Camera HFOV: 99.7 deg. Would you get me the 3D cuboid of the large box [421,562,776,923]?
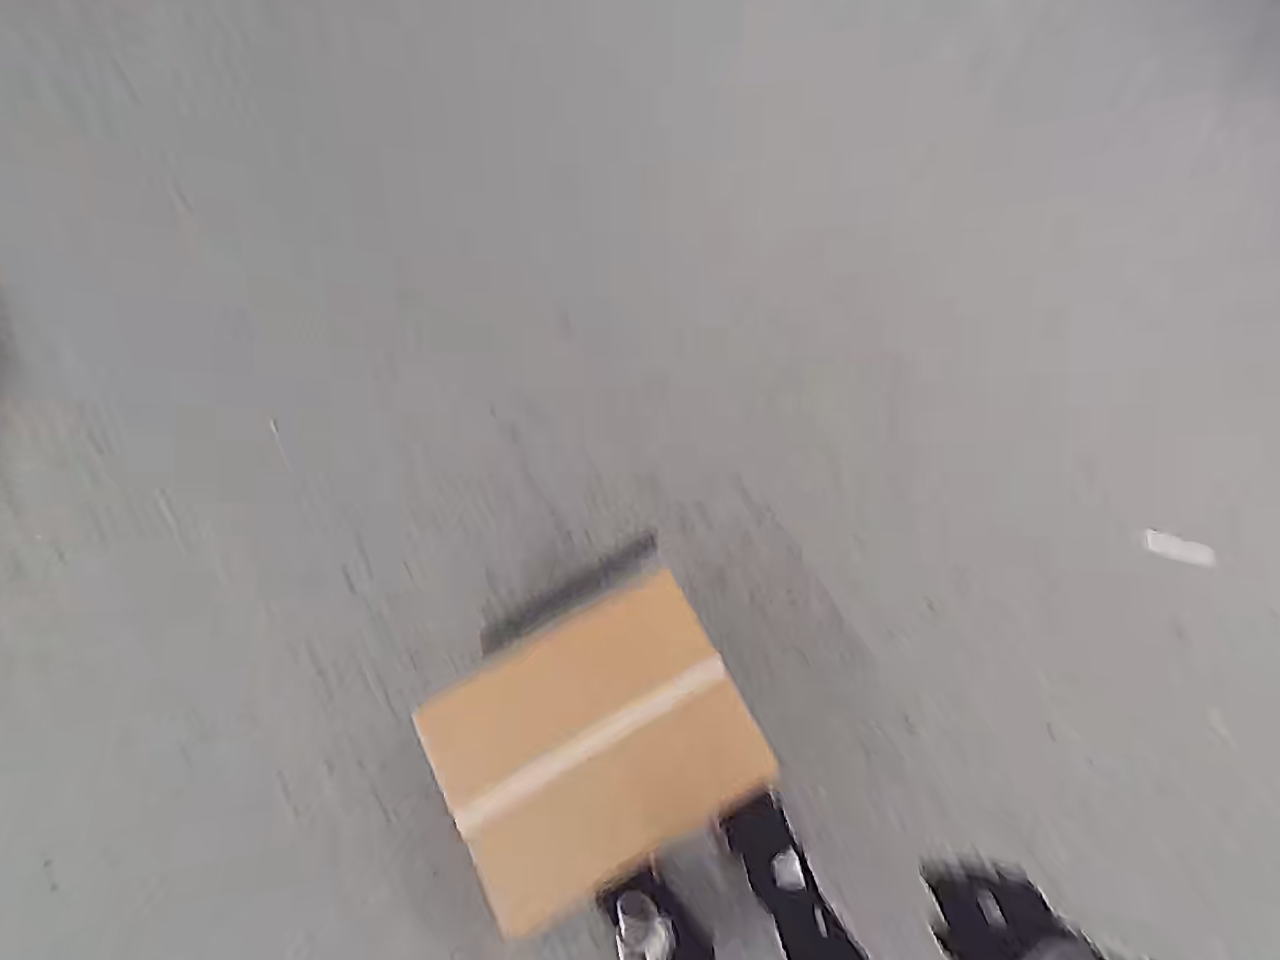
[{"bbox_3d":[-0.062,0.374,0.879,0.408,0.320,0.320,-28,81,-7],"label":"large box"}]
